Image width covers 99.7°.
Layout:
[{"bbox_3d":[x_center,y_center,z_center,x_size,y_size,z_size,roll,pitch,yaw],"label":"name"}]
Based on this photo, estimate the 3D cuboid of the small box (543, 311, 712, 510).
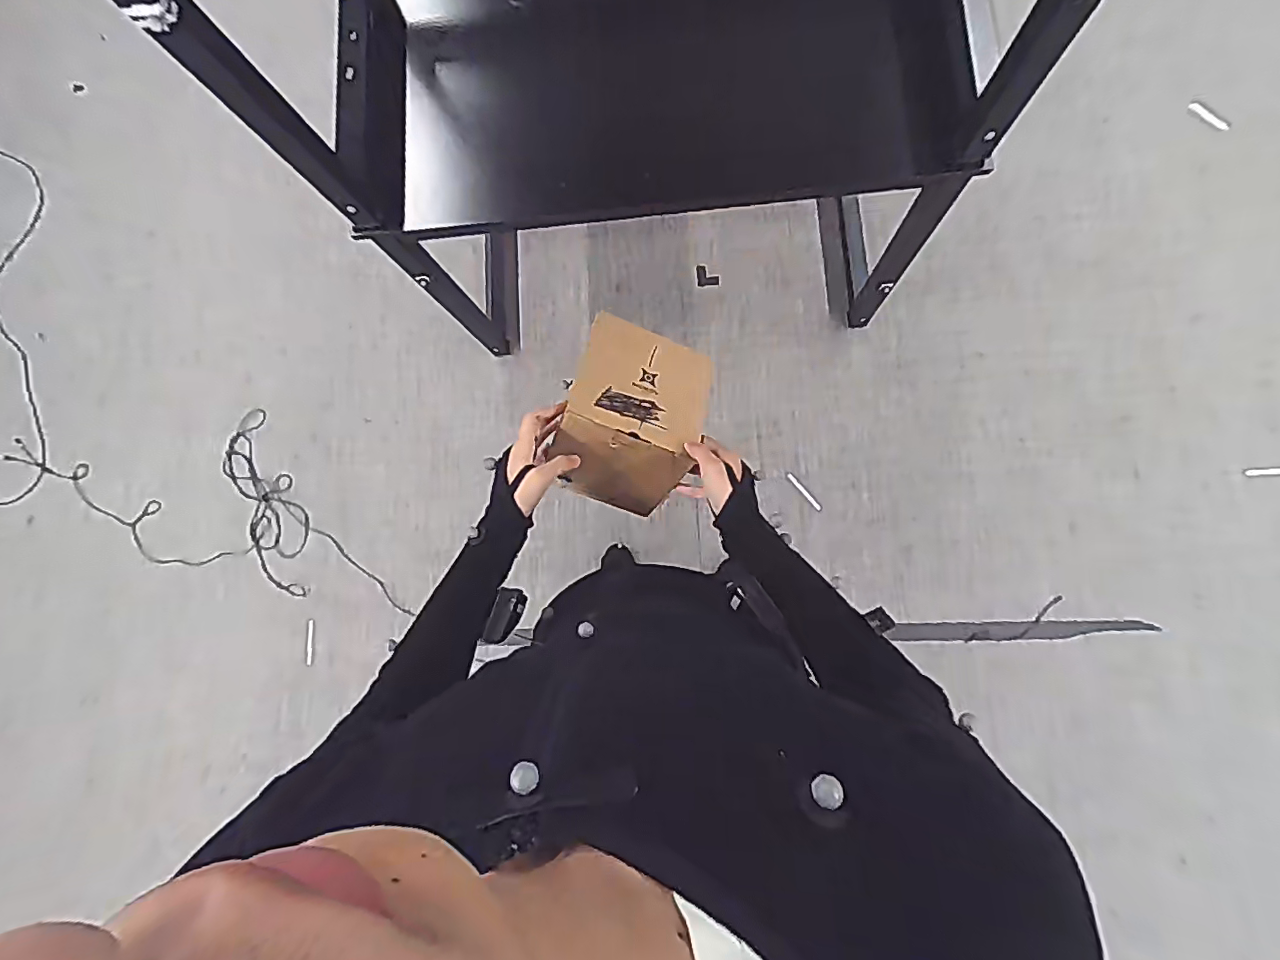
[{"bbox_3d":[-0.021,-0.082,0.725,0.168,0.176,0.179,20,56,-13],"label":"small box"}]
